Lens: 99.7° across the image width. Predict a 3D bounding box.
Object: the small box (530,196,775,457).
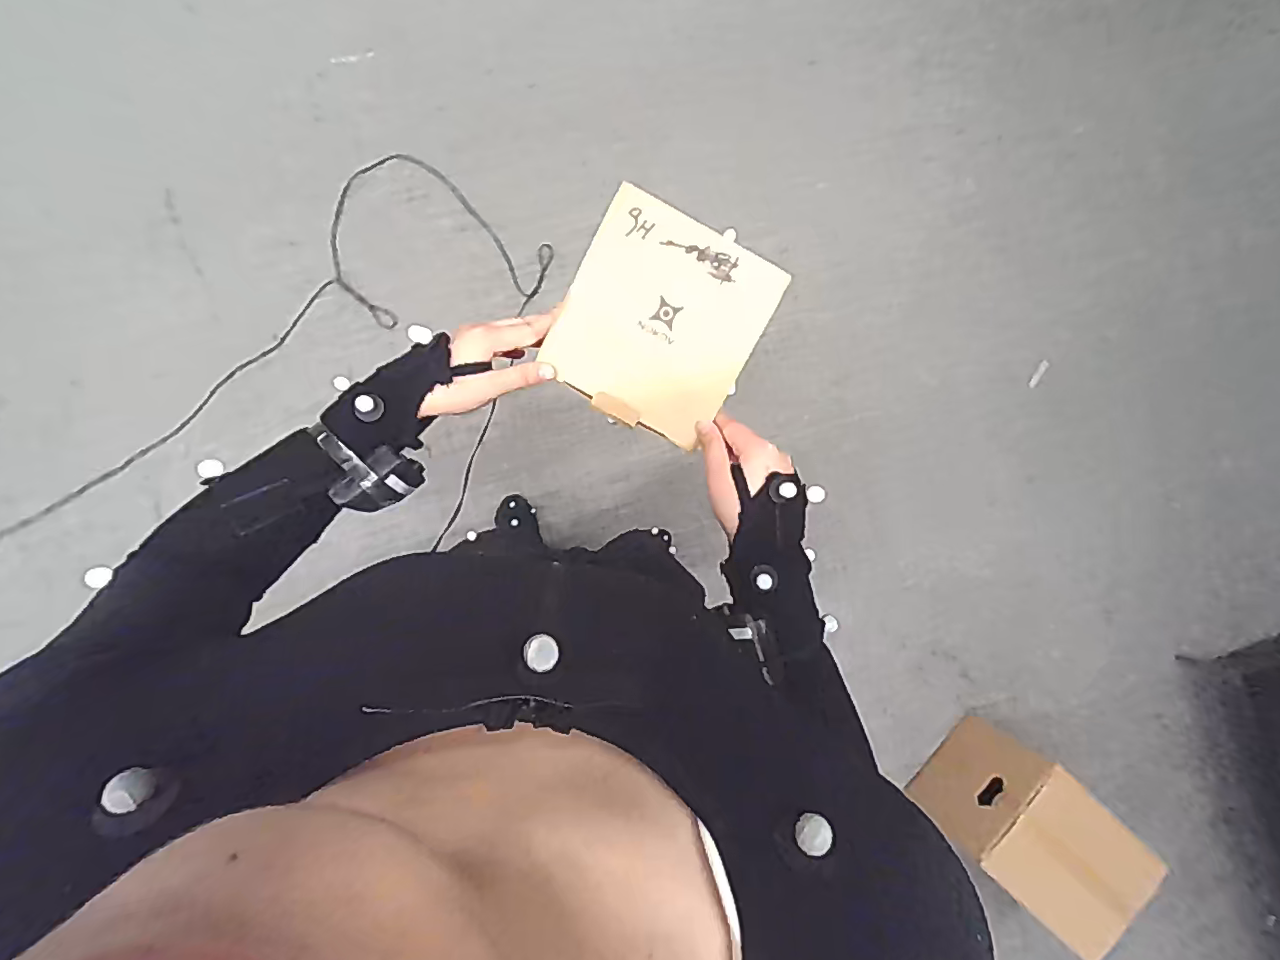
[{"bbox_3d":[0.011,-0.145,0.558,0.168,0.176,0.179,27,99,-4],"label":"small box"}]
